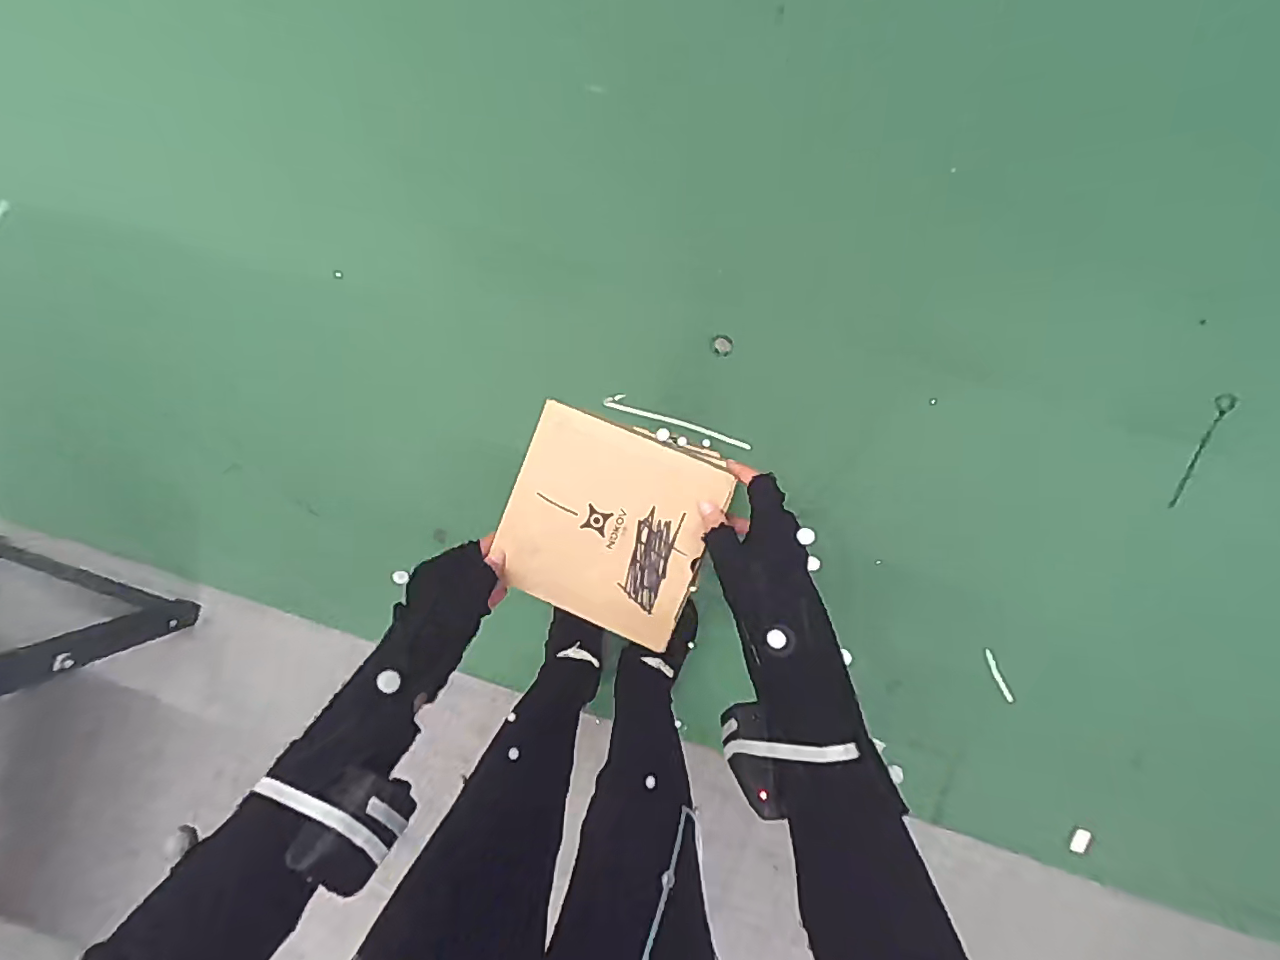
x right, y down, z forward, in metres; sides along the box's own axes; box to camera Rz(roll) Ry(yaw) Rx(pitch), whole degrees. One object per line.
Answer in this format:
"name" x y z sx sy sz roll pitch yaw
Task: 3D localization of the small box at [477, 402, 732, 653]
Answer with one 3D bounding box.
"small box" -0.023 0.036 0.536 0.179 0.176 0.168 24 95 7
